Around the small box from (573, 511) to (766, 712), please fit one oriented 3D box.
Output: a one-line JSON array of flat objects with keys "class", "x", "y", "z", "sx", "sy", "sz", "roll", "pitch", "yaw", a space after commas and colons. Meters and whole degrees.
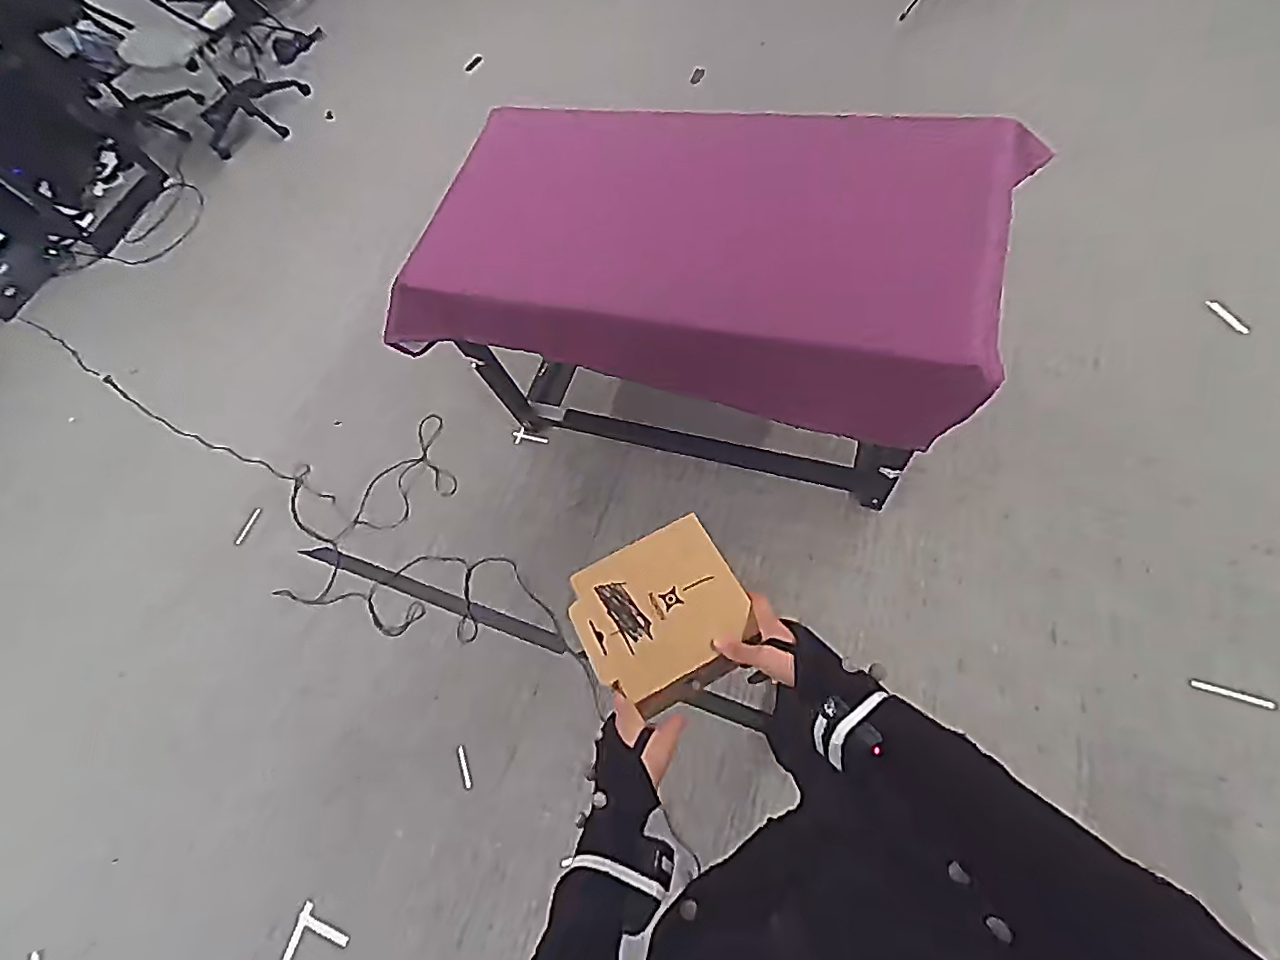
[{"class": "small box", "x": 0.038, "y": 0.175, "z": 0.692, "sx": 0.179, "sy": 0.176, "sz": 0.168, "roll": -26, "pitch": 62, "yaw": -9}]
